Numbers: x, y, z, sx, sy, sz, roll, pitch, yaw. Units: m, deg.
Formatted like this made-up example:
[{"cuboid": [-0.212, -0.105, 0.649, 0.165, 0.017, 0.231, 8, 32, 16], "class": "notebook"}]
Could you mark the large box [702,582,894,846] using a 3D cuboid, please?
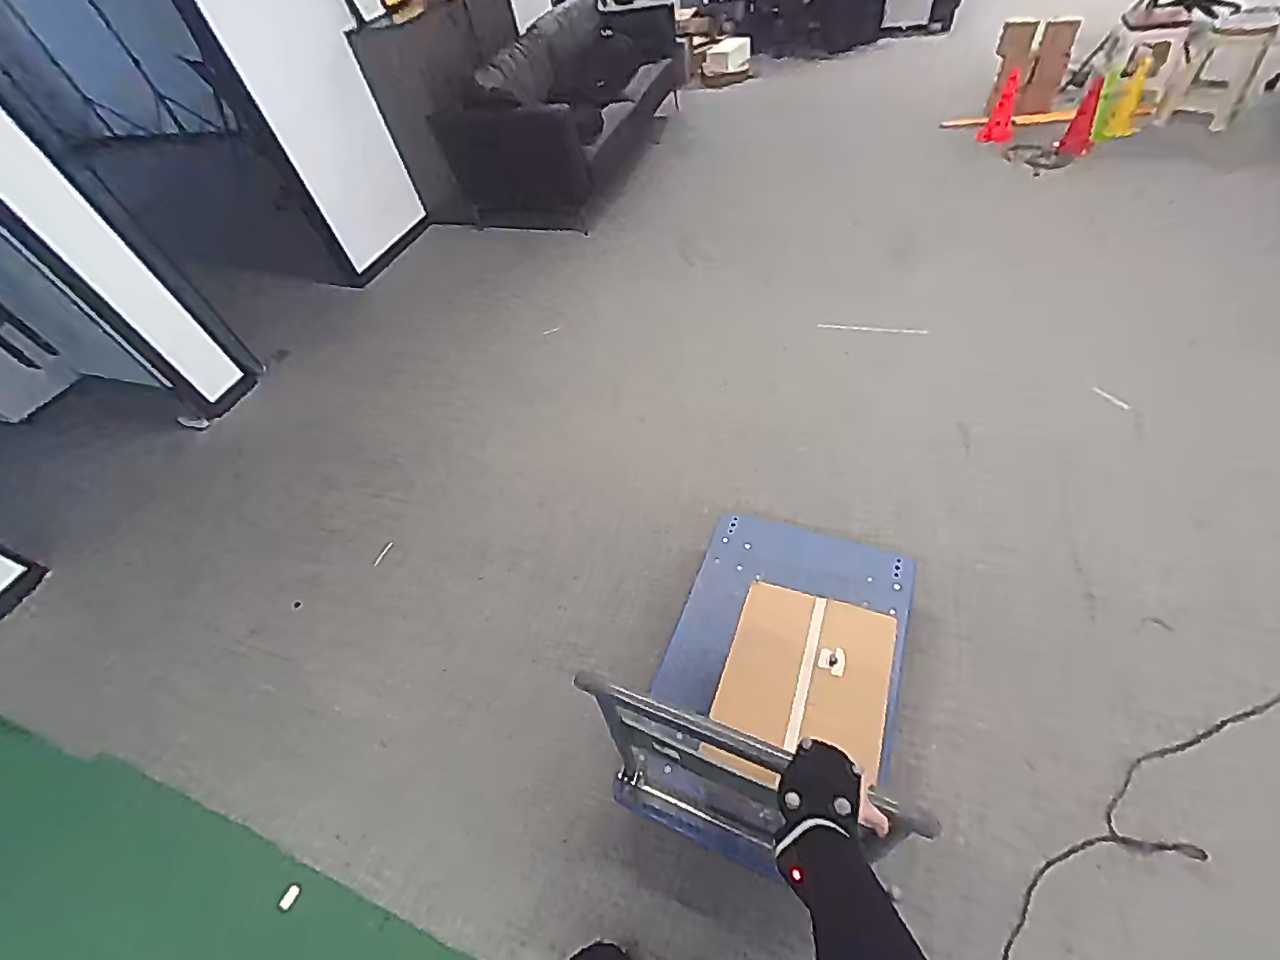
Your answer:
[{"cuboid": [0.346, 0.506, 1.190, 0.320, 0.320, 0.408, 13, 53, 19], "class": "large box"}]
